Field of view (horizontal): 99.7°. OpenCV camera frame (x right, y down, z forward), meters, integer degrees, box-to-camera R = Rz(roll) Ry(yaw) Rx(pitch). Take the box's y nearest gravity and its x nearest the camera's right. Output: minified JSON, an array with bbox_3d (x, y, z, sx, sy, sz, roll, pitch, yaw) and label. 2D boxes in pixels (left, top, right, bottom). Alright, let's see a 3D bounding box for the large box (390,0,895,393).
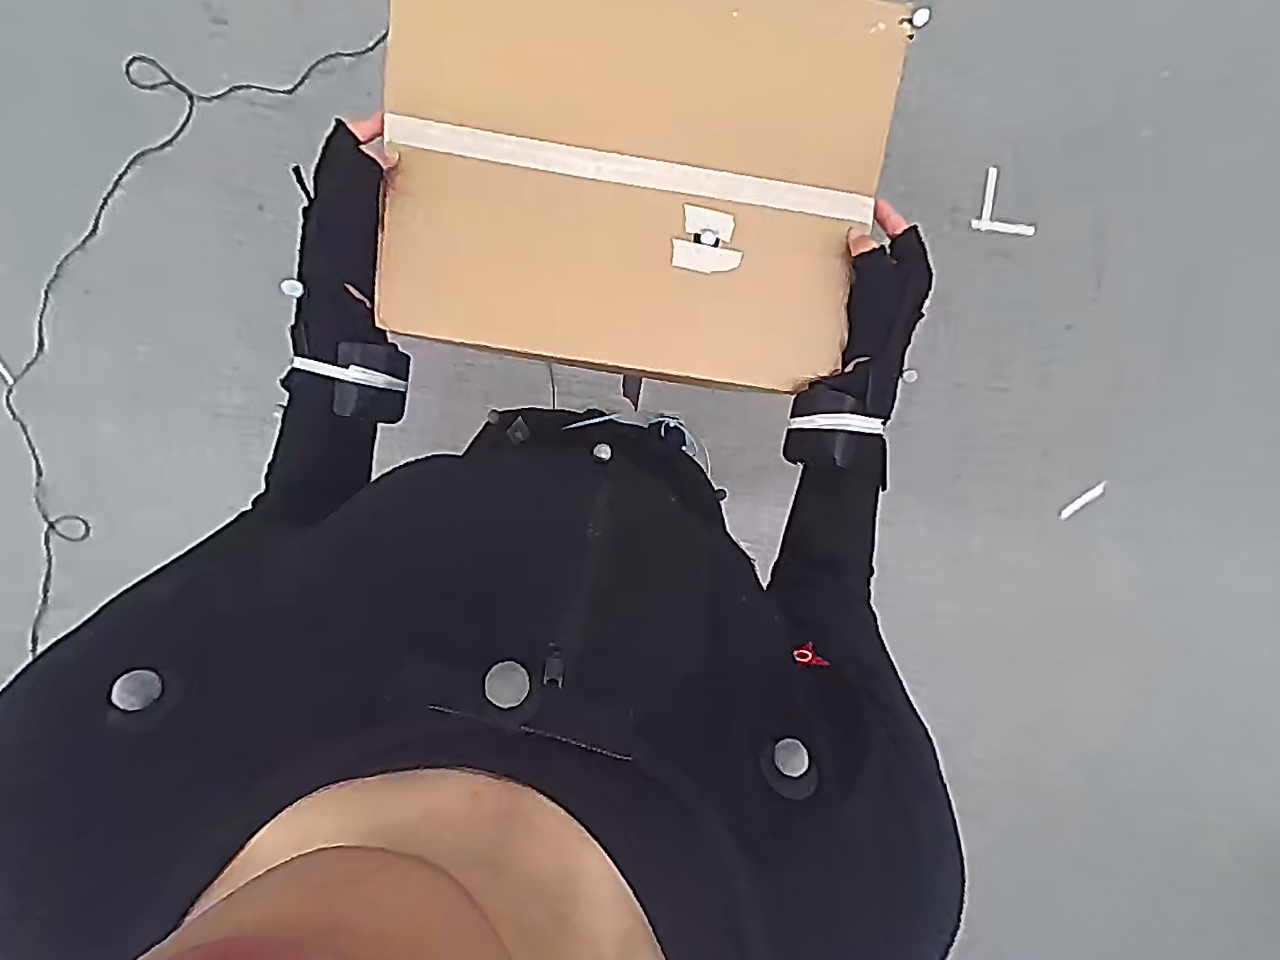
[{"bbox_3d":[-0.013,-0.277,0.602,0.408,0.320,0.320,7,101,-5],"label":"large box"}]
